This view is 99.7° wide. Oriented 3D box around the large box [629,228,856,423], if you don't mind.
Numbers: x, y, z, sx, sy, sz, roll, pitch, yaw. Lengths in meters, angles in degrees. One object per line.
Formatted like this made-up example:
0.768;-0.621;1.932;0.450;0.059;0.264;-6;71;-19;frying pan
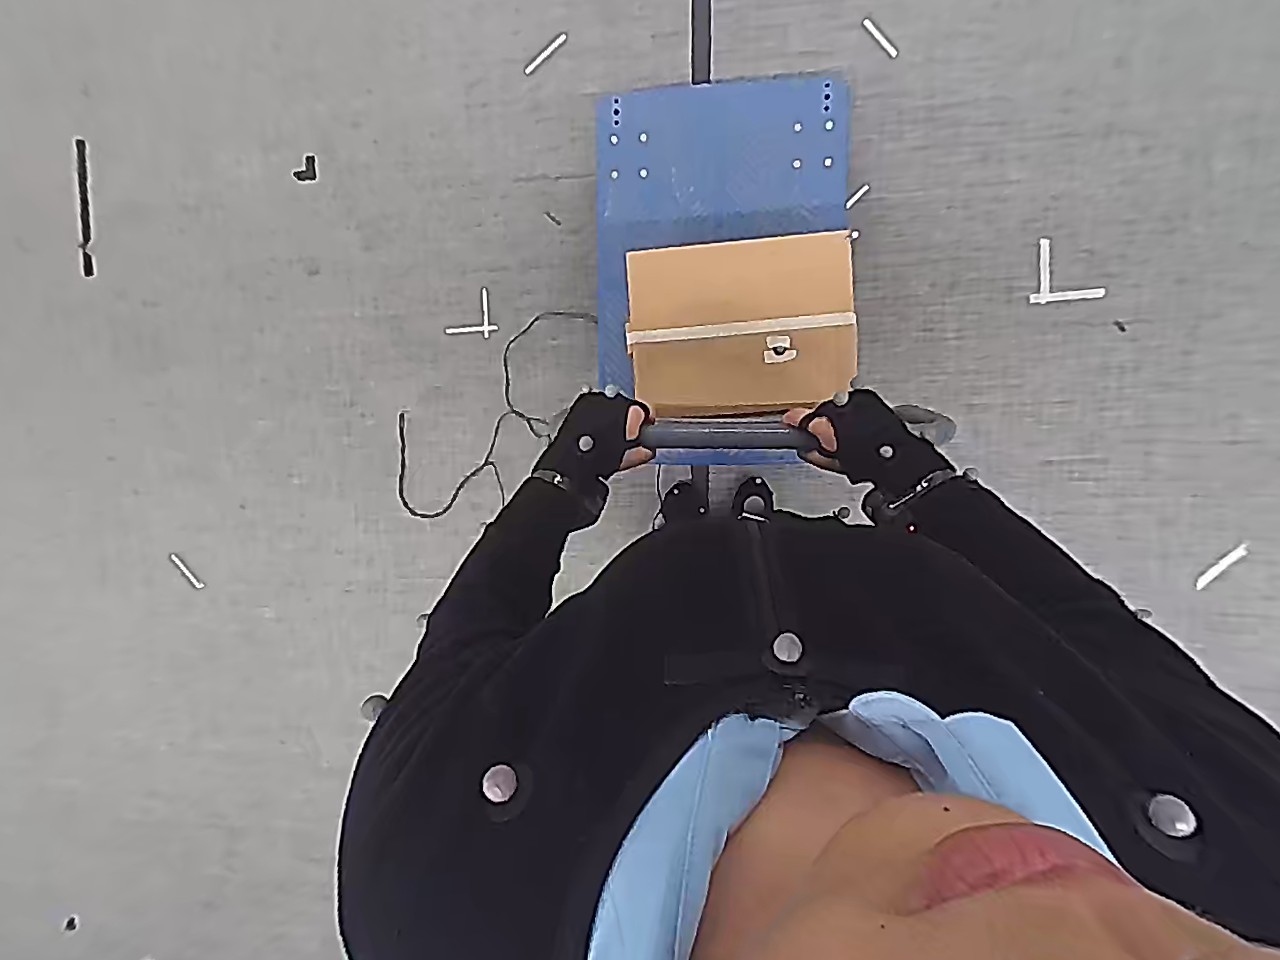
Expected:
0.199;-0.297;1.148;0.408;0.320;0.320;-4;95;5;large box
